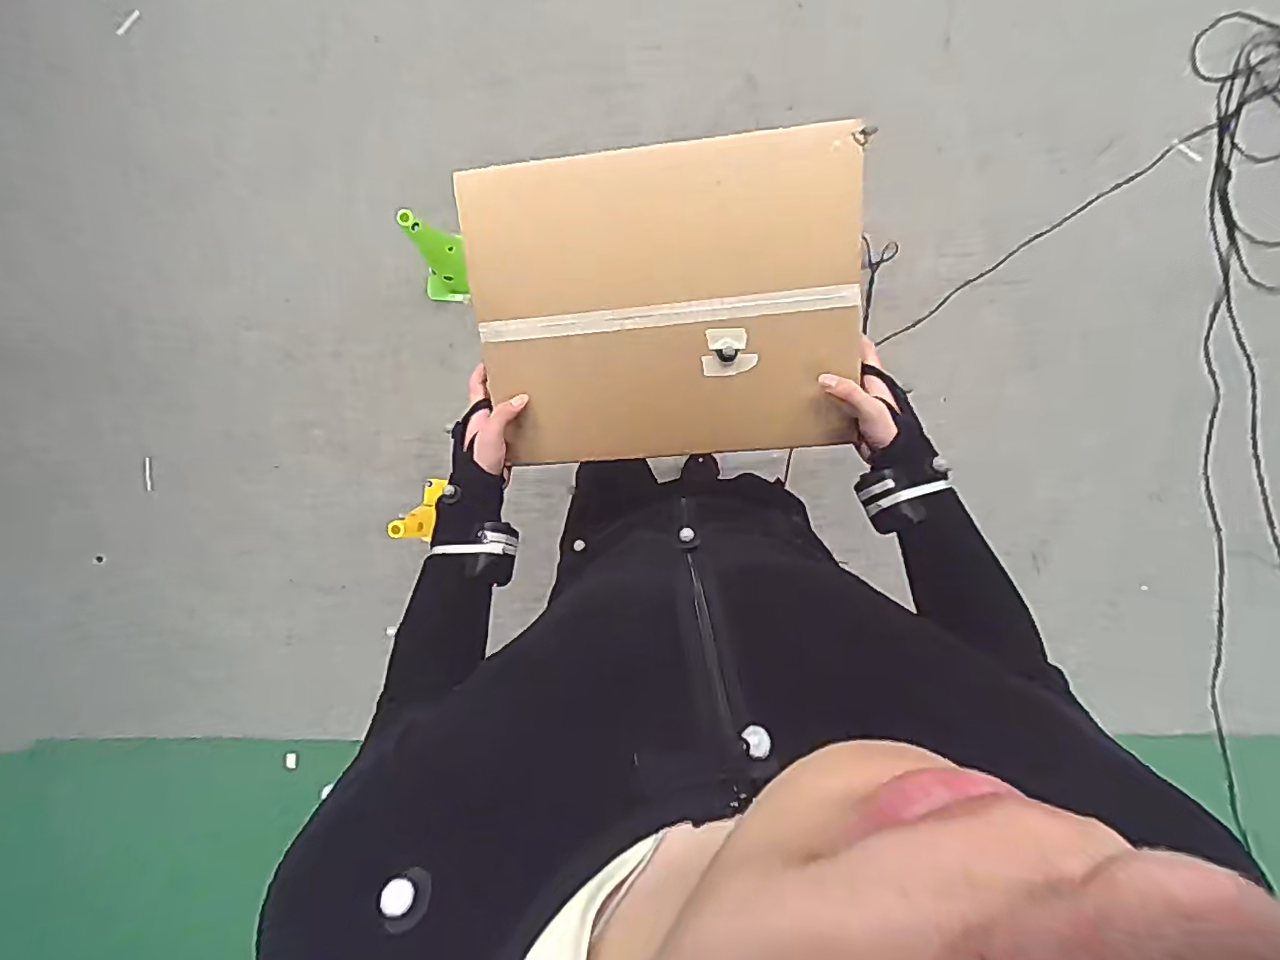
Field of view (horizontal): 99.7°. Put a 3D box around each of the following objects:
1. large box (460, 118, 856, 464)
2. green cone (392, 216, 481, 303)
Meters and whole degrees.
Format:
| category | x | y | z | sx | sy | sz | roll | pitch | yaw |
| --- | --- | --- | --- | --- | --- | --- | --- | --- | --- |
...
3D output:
| category | x | y | z | sx | sy | sz | roll | pitch | yaw |
| --- | --- | --- | --- | --- | --- | --- | --- | --- | --- |
| large box | 0.035 | -0.226 | 0.722 | 0.408 | 0.320 | 0.320 | -5 | 108 | 6 |
| green cone | -0.567 | -0.630 | 1.471 | 0.200 | 0.368 | 0.202 | 4 | 94 | 4 |
